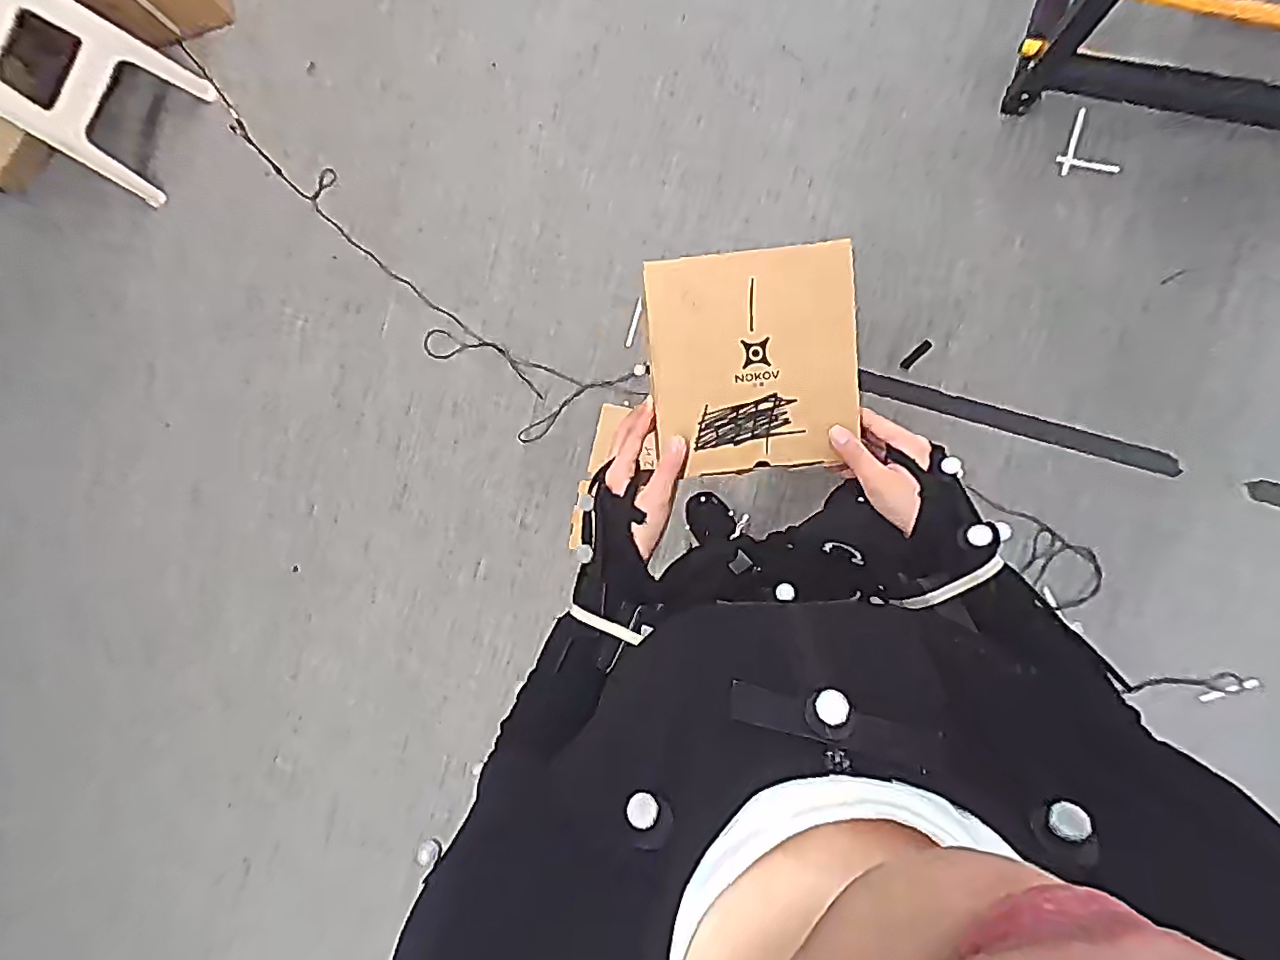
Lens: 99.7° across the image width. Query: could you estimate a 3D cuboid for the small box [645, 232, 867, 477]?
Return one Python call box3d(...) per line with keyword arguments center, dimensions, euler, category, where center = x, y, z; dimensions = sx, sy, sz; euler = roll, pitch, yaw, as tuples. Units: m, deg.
box3d(center=(0.094, -0.108, 0.499), dimensions=(0.168, 0.176, 0.179), euler=(-6, 99, 1), category="small box")
